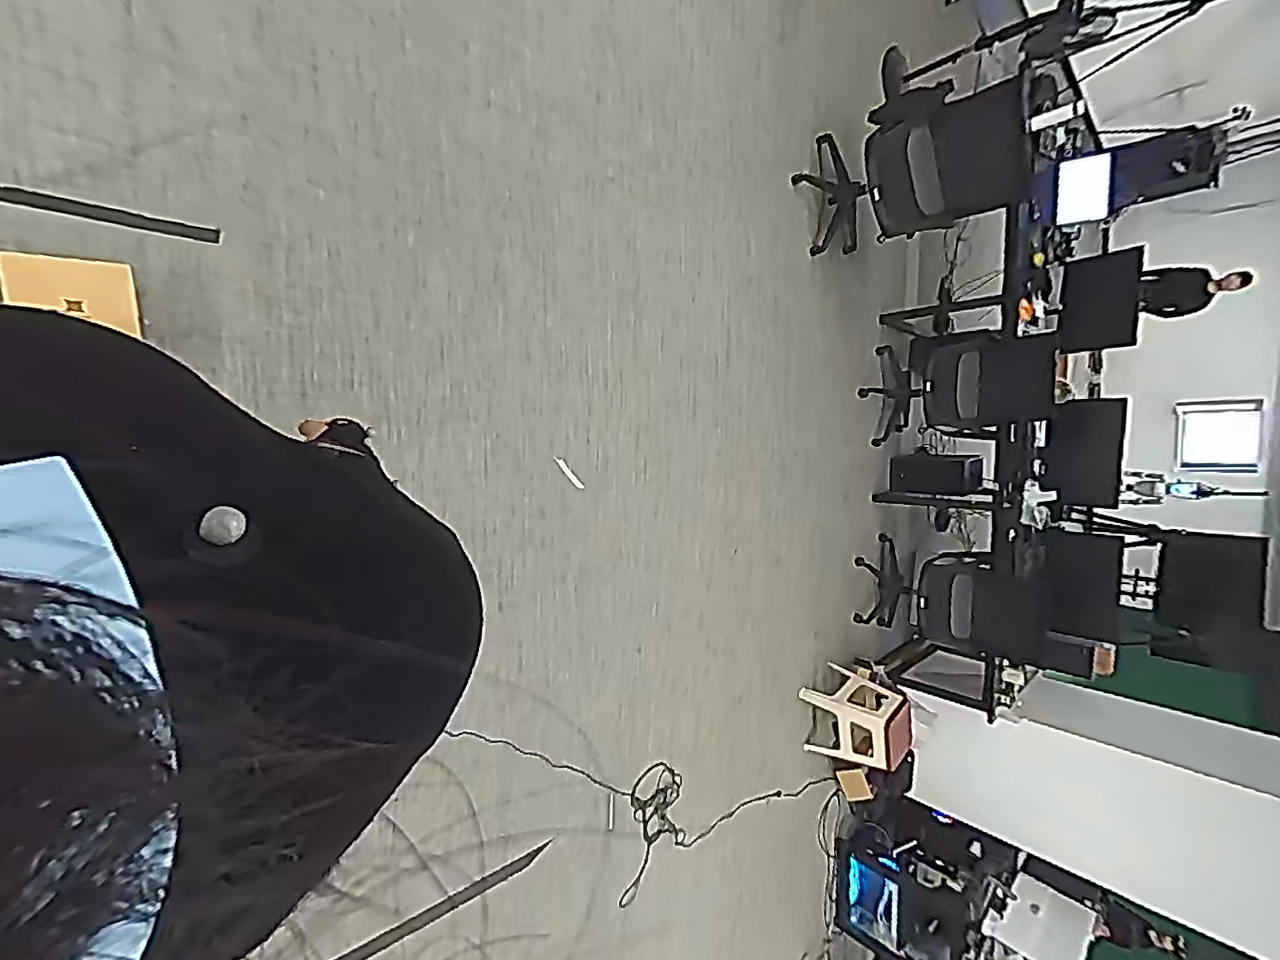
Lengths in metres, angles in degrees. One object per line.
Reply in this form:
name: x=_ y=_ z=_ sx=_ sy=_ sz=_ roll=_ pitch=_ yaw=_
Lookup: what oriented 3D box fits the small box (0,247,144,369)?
small box: x=-1.038 y=-0.304 z=0.994 sx=0.168 sy=0.176 sz=0.179 roll=-9 pitch=100 yaw=-43
